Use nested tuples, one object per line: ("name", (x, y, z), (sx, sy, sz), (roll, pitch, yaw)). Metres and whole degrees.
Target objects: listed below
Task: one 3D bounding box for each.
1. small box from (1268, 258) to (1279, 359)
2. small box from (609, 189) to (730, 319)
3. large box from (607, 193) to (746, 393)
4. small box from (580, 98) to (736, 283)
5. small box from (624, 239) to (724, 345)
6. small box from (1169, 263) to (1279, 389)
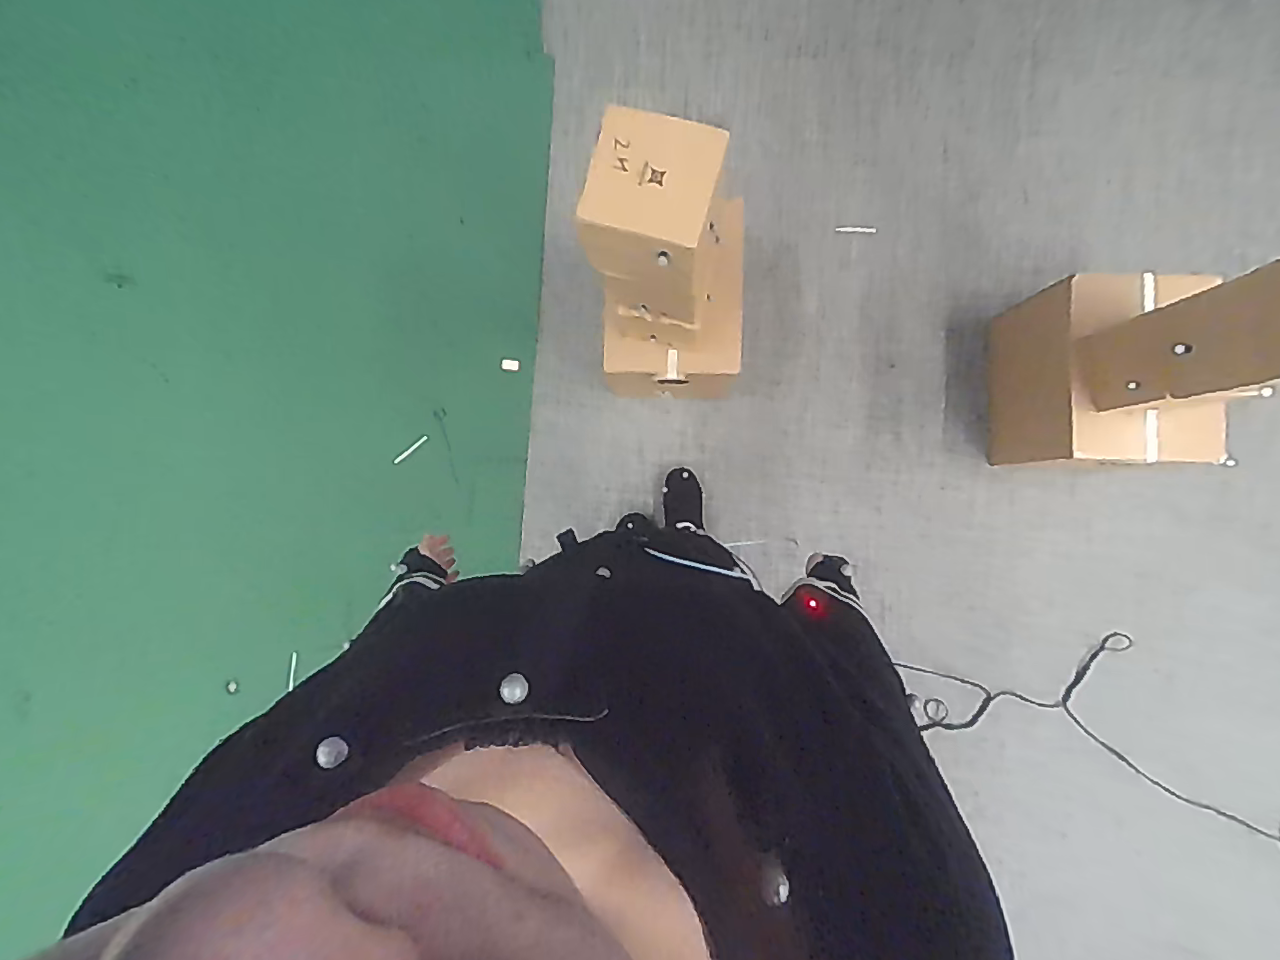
("small box", (1.027, -0.257, 0.732), (0.168, 0.176, 0.179), (-7, 89, 5))
("small box", (0.052, -0.415, 0.969), (0.168, 0.176, 0.179), (16, 91, 5))
("large box", (0.096, -0.447, 1.373), (0.320, 0.320, 0.408), (2, 88, 4))
("small box", (0.030, -0.415, 0.806), (0.179, 0.176, 0.168), (17, 90, 5))
("small box", (0.070, -0.402, 1.131), (0.168, 0.176, 0.179), (13, 90, 5))
("small box", (1.042, -0.252, 0.897), (0.168, 0.176, 0.179), (-7, 89, 5))
